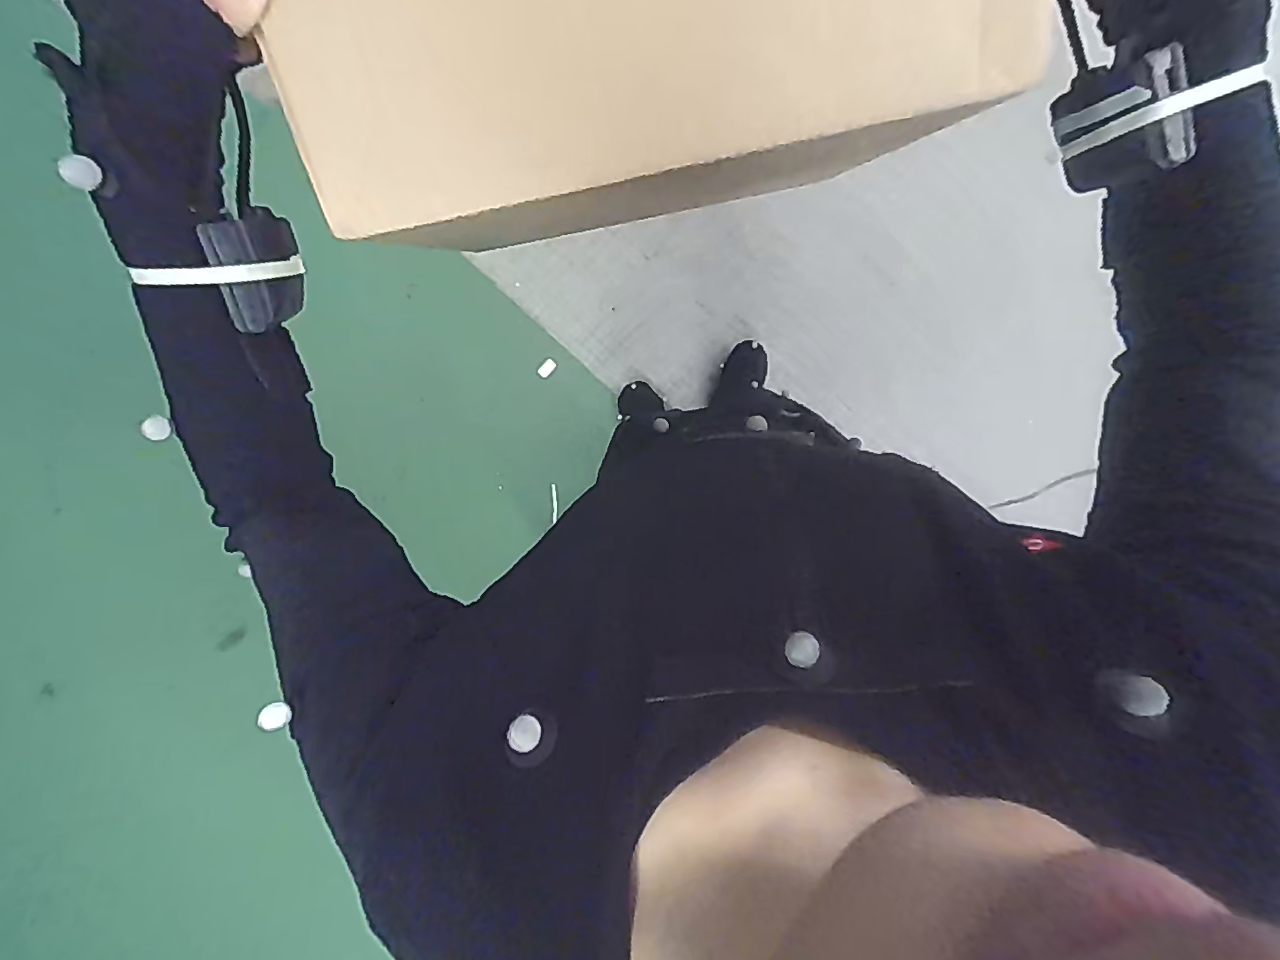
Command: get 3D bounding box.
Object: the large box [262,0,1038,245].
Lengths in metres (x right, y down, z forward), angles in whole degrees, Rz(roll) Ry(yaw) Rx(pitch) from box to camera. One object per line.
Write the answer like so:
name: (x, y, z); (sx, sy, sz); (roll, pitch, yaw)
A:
large box: (-0.015, -0.379, 0.388); (0.408, 0.320, 0.320); (-11, 112, 2)
